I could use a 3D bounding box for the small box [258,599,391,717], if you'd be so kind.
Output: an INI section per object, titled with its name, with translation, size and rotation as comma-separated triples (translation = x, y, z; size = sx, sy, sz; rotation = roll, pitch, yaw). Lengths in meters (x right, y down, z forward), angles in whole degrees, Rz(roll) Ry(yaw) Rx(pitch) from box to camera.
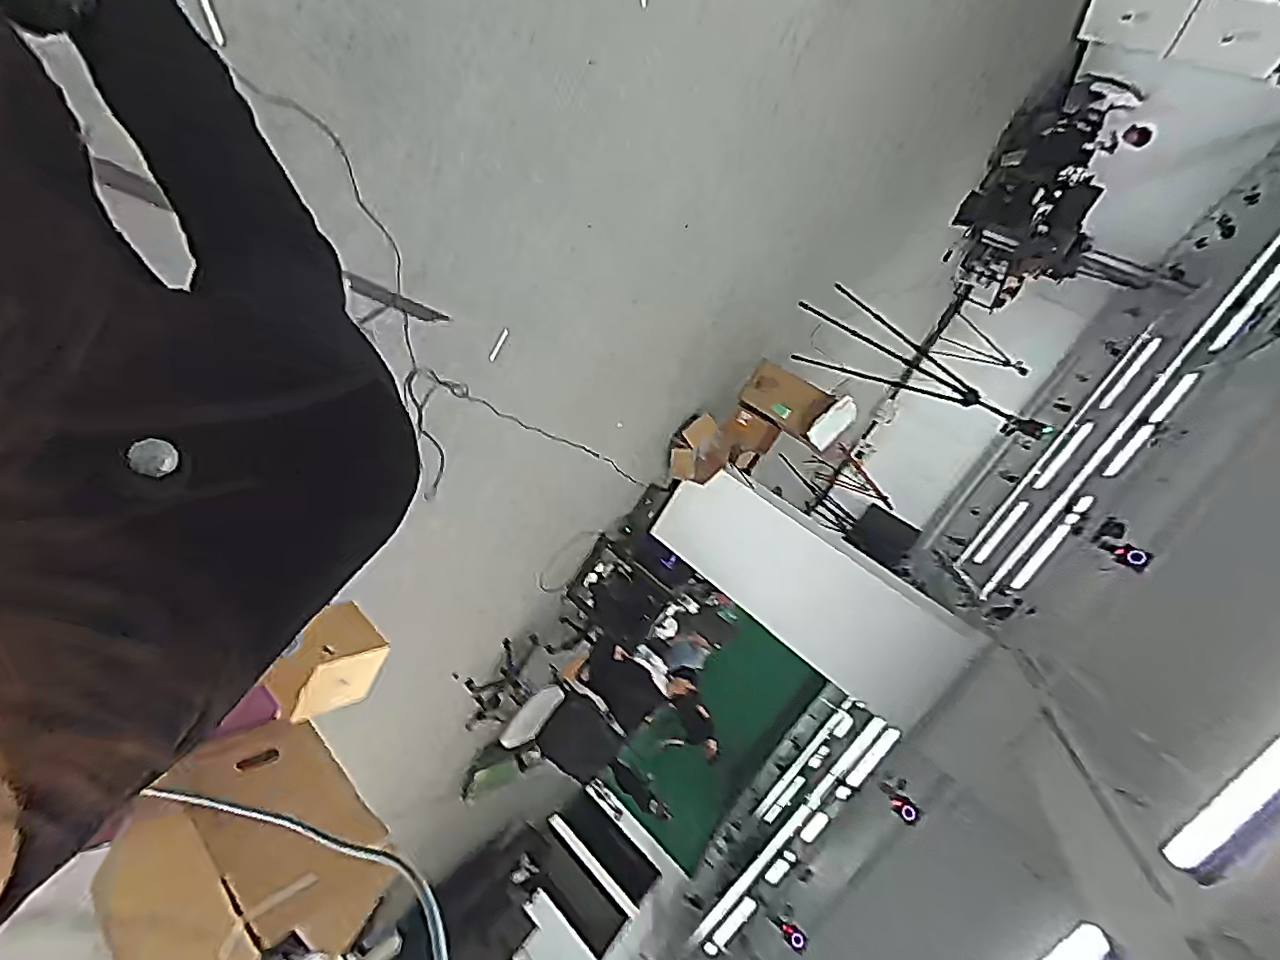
[small box]
translation = -0.714, 0.390, 1.225
size = 0.168, 0.176, 0.179
rotation = -58, 156, 14
